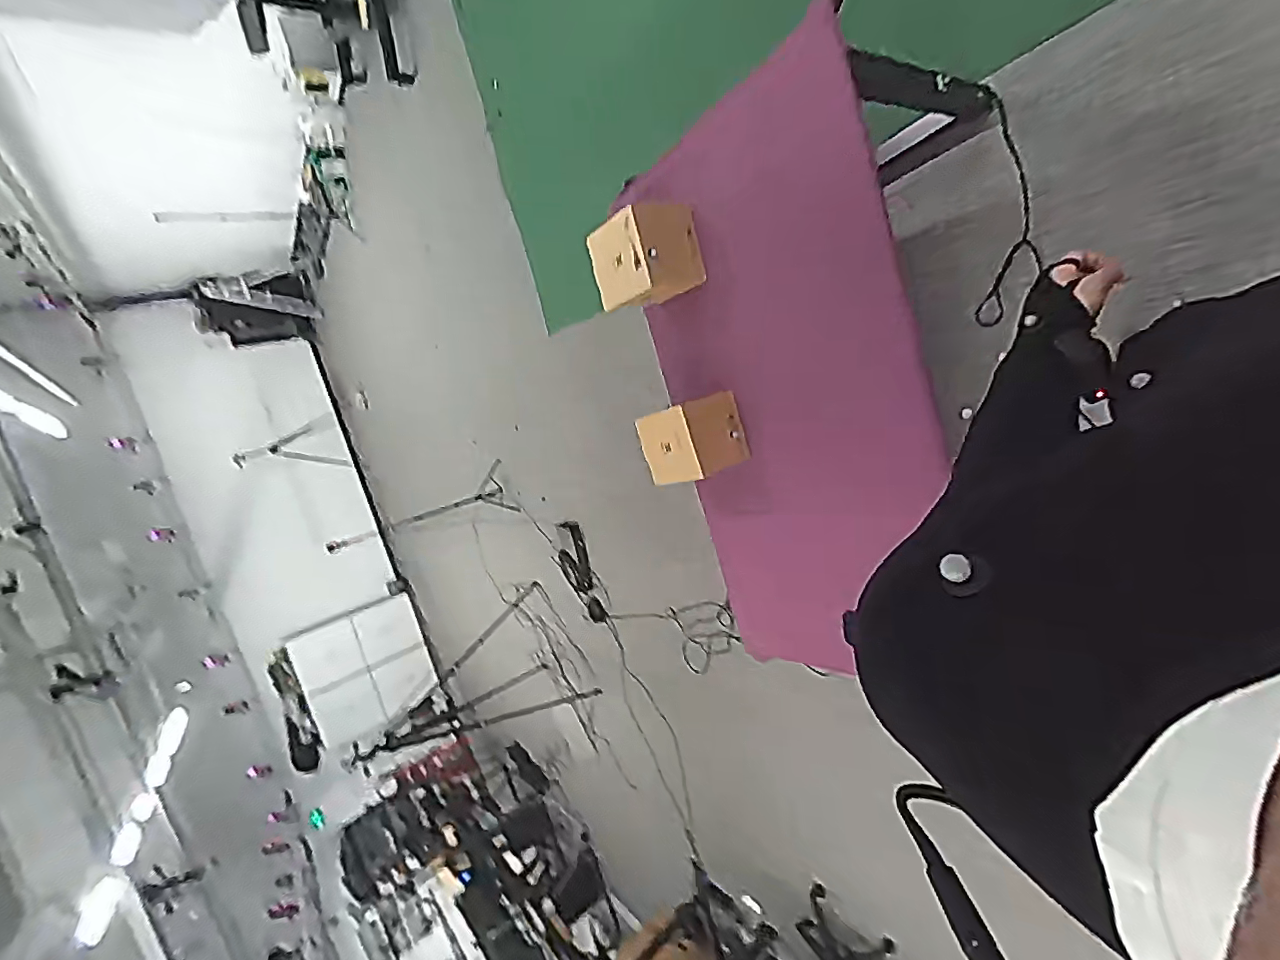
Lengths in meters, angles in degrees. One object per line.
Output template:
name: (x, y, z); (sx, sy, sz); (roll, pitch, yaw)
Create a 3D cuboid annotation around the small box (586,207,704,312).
small box: (0.012, -0.485, 1.196); (0.179, 0.176, 0.168); (-4, 105, 54)

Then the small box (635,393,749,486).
small box: (0.120, -0.092, 1.256); (0.179, 0.176, 0.168); (-10, 100, 54)
